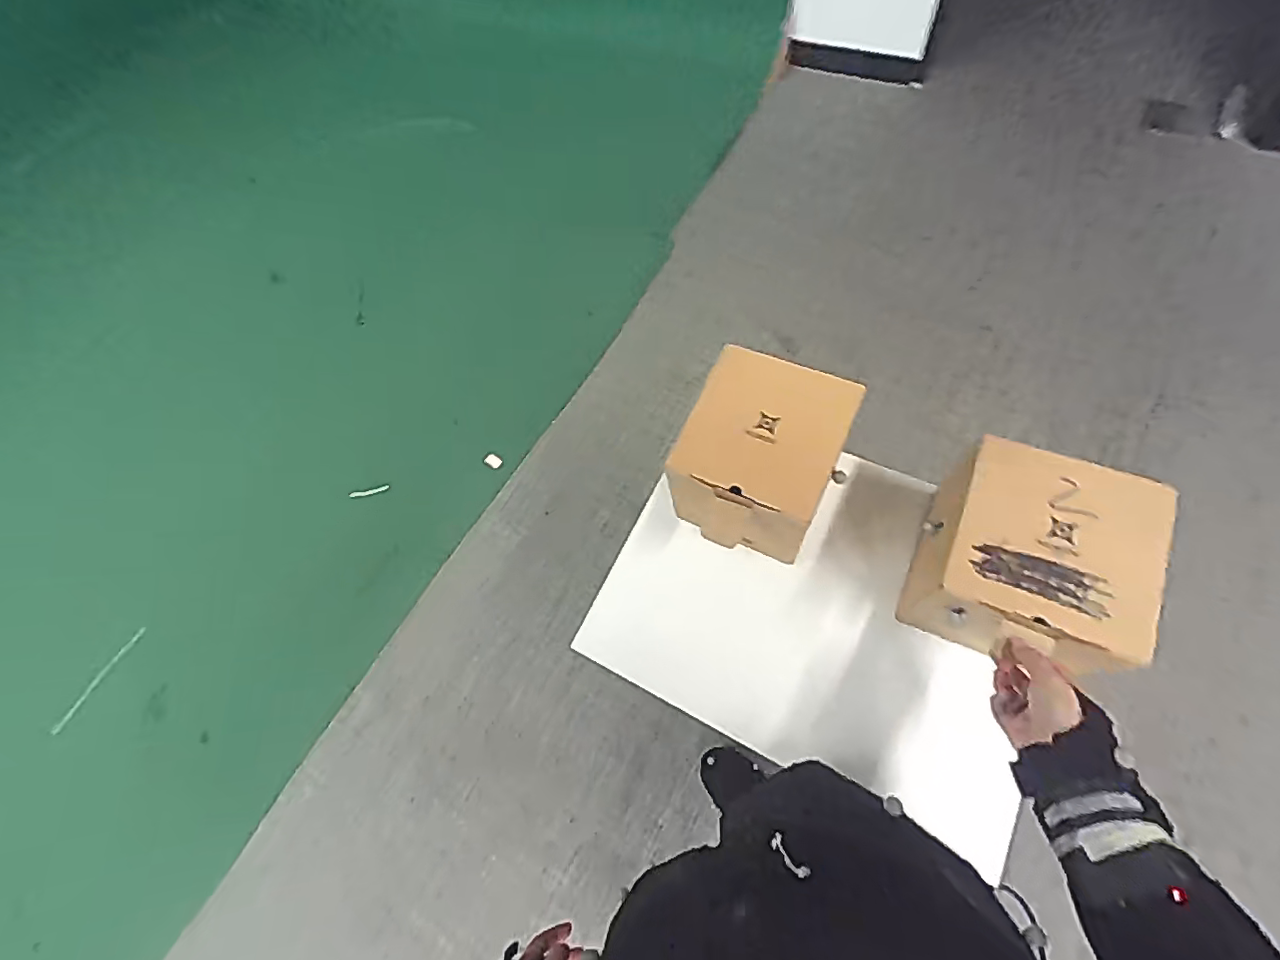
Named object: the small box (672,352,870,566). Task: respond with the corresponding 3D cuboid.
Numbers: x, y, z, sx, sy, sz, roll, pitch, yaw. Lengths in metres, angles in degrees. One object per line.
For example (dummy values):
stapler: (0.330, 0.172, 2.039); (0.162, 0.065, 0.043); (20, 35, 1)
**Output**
small box: (0.153, -0.019, 0.662); (0.168, 0.176, 0.179); (23, 73, 17)
